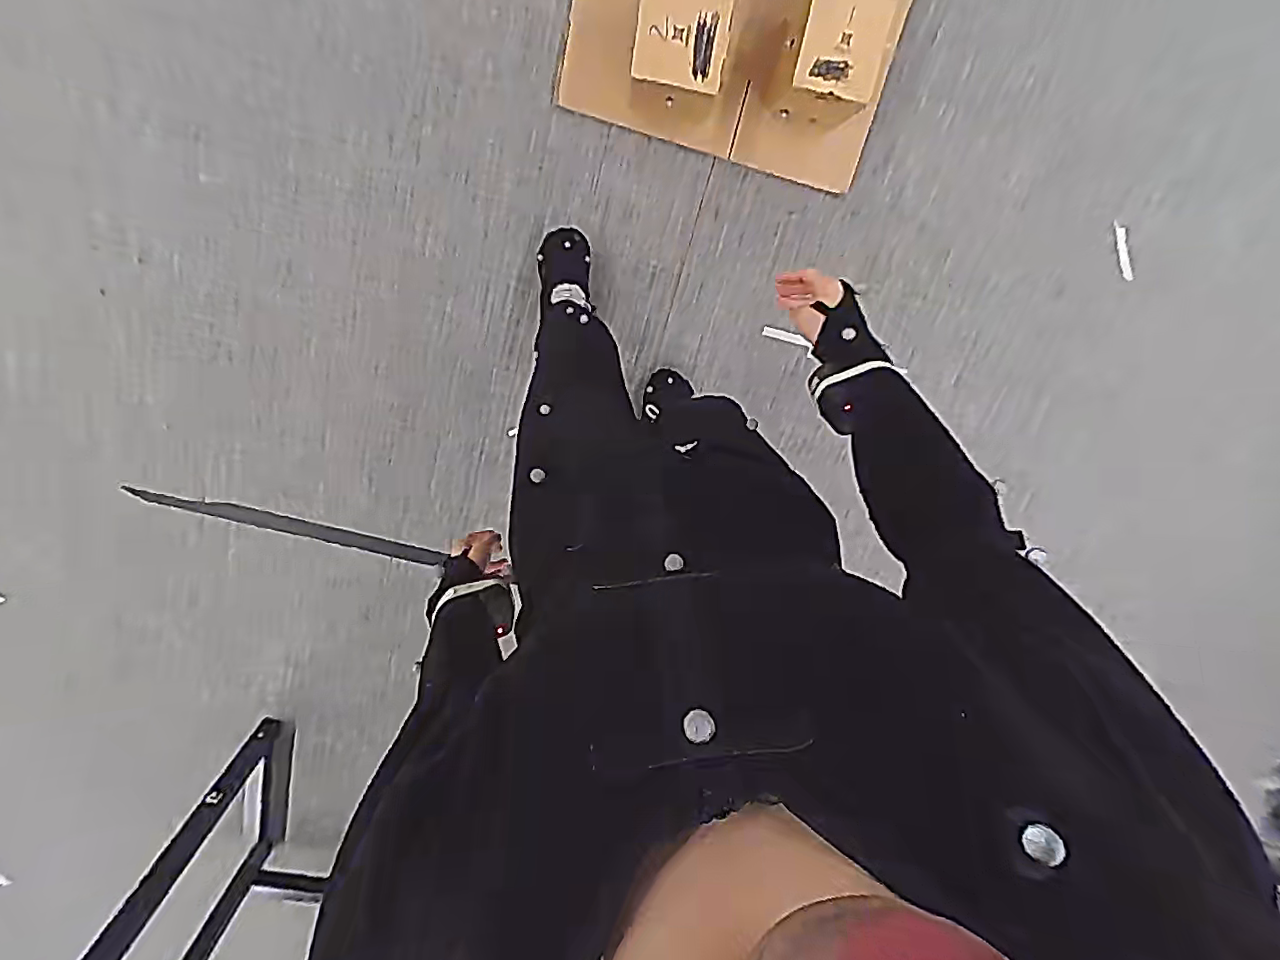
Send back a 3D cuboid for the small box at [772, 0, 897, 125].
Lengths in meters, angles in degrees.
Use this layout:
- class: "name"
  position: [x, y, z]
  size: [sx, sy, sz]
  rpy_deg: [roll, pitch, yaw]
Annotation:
- class: "small box"
  position: [0.384, -0.861, 1.108]
  size: [0.168, 0.176, 0.179]
  rpy_deg: [9, 108, -8]
